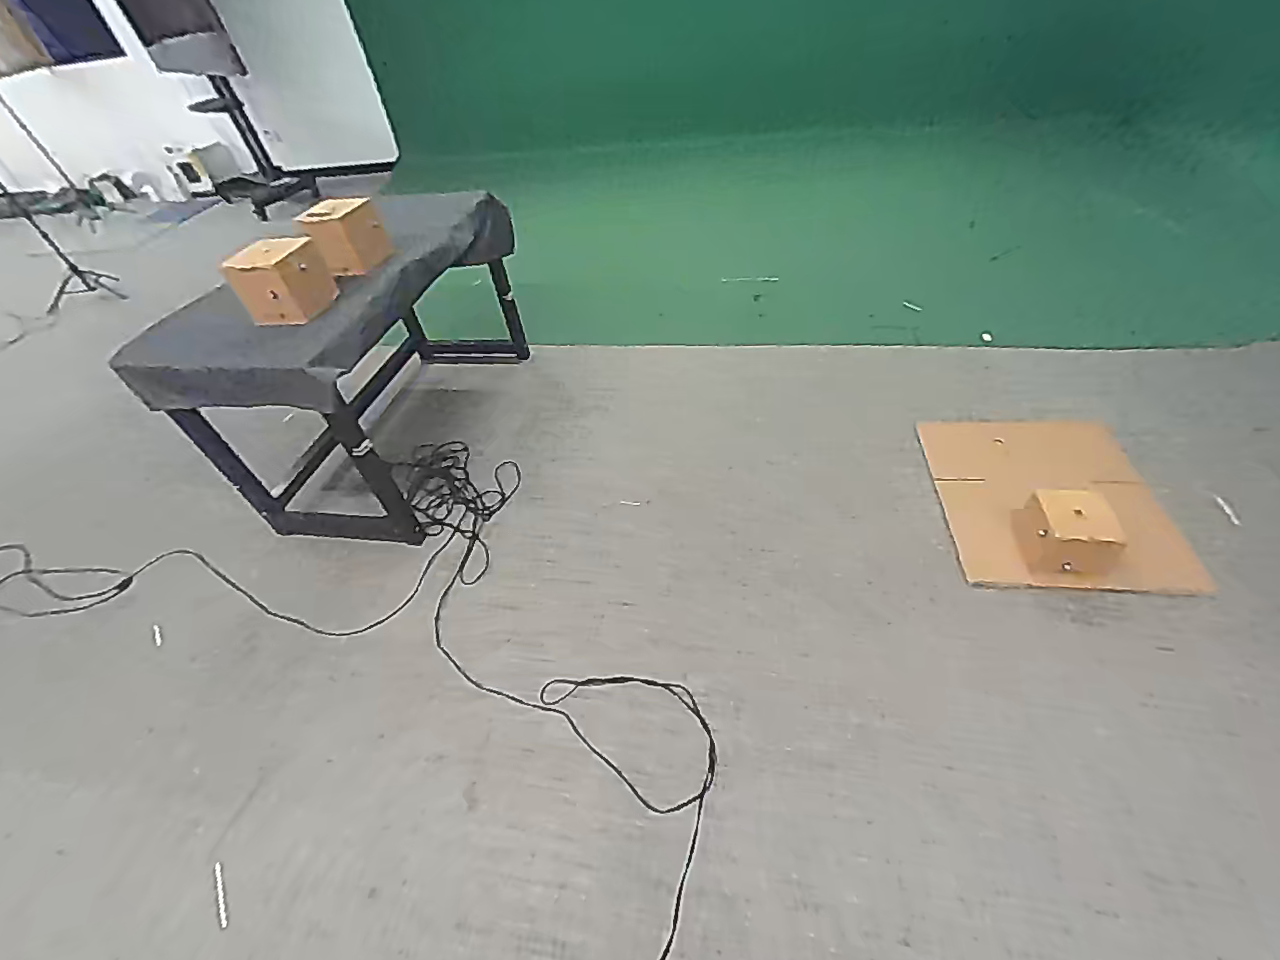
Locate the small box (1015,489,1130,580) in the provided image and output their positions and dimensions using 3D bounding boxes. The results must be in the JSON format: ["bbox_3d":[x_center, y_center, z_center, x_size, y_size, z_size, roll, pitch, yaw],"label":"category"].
[{"bbox_3d":[1.163,0.147,1.474,0.168,0.176,0.179,3,47,11],"label":"small box"}]

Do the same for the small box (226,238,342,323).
[{"bbox_3d":[-0.962,-0.543,1.483,0.168,0.176,0.179,3,45,10],"label":"small box"}]
